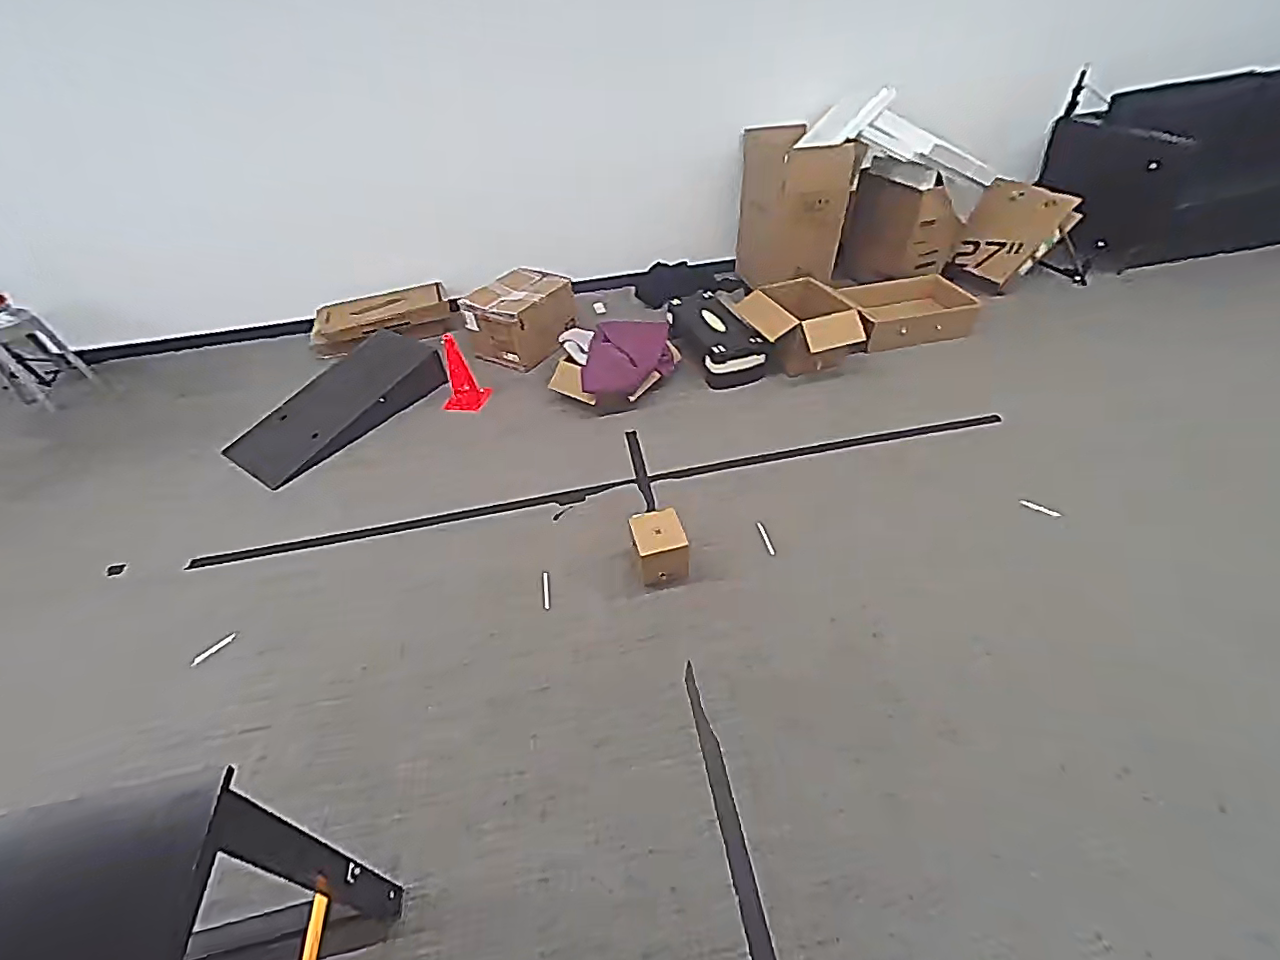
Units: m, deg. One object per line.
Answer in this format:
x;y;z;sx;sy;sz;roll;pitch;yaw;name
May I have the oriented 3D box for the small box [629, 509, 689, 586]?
0.063;0.232;1.849;0.168;0.176;0.179;-14;45;-8;small box
